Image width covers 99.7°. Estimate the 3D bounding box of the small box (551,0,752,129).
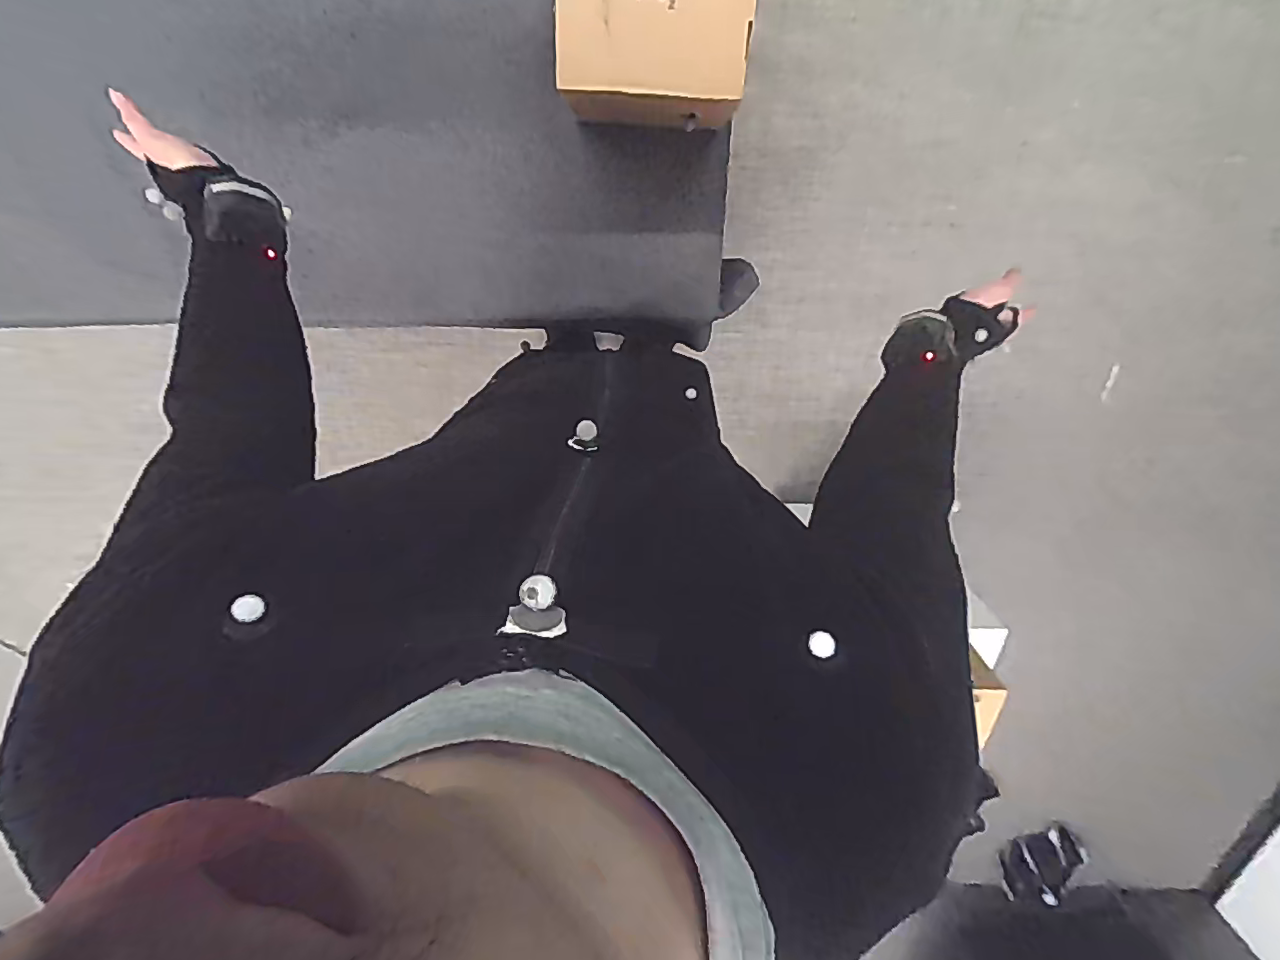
[{"bbox_3d":[0.011,-0.458,0.532,0.179,0.176,0.168,3,115,0],"label":"small box"}]
